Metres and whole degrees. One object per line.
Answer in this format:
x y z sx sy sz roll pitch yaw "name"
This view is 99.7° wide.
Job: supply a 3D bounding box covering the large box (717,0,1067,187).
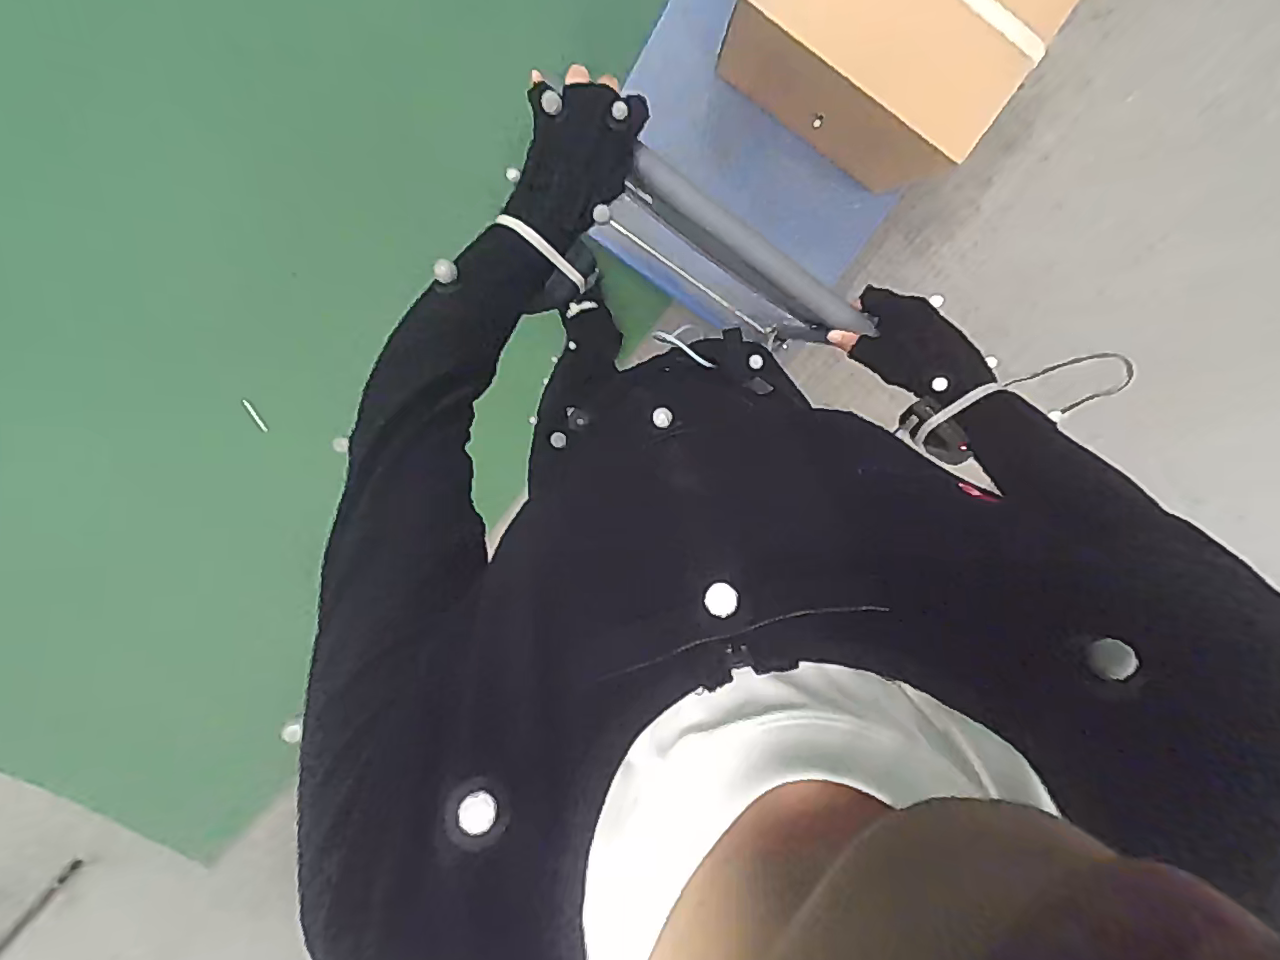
0.383 -0.745 0.870 0.408 0.320 0.320 31 108 -9 "large box"
